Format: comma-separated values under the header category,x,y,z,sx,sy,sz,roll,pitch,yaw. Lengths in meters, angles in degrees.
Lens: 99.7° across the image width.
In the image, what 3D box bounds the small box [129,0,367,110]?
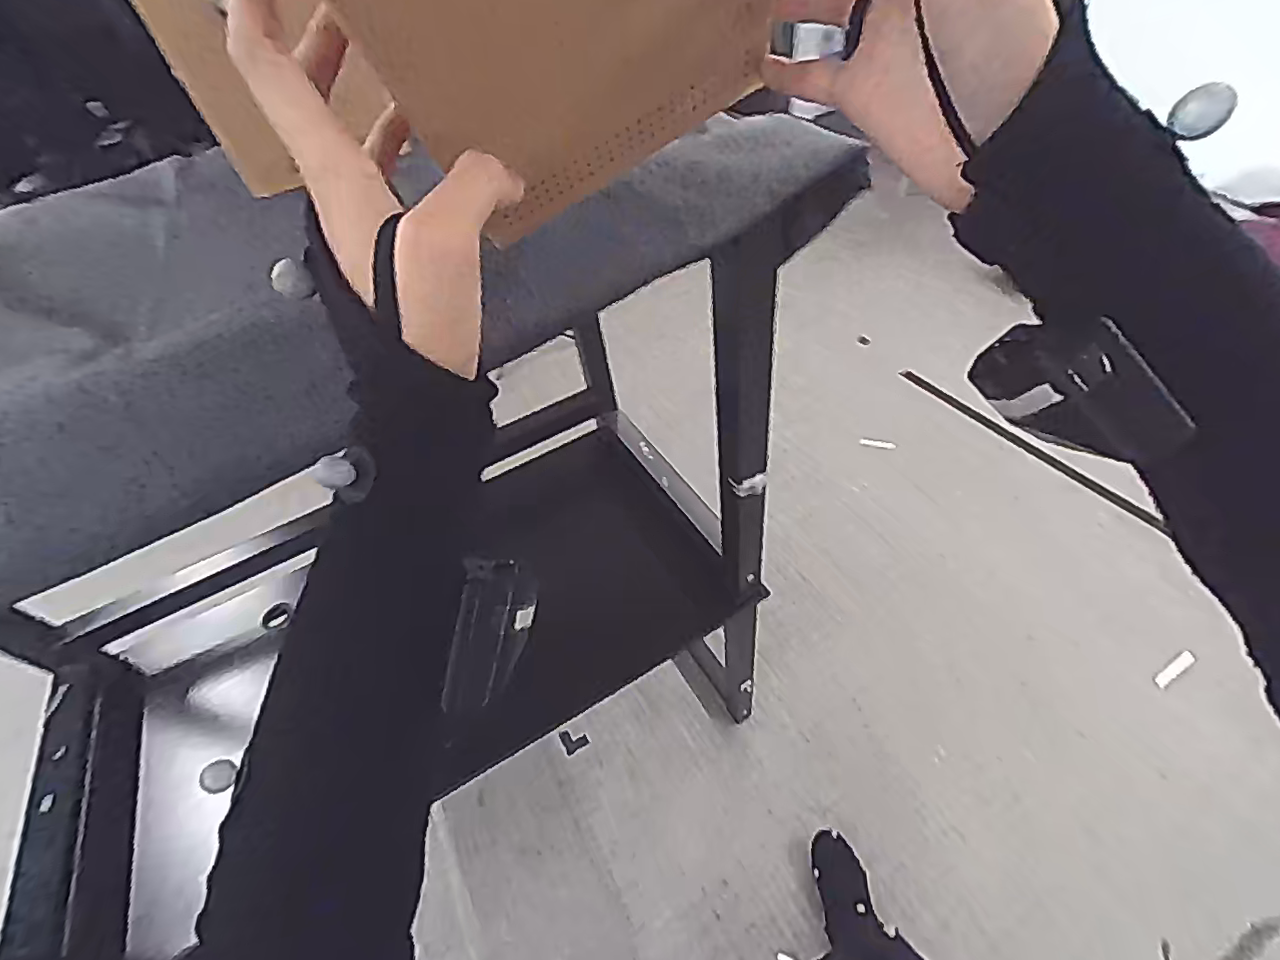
category,x,y,z,sx,sy,sz,roll,pitch,yaw
small box,-0.394,-0.481,0.521,0.168,0.176,0.179,-28,51,-14
